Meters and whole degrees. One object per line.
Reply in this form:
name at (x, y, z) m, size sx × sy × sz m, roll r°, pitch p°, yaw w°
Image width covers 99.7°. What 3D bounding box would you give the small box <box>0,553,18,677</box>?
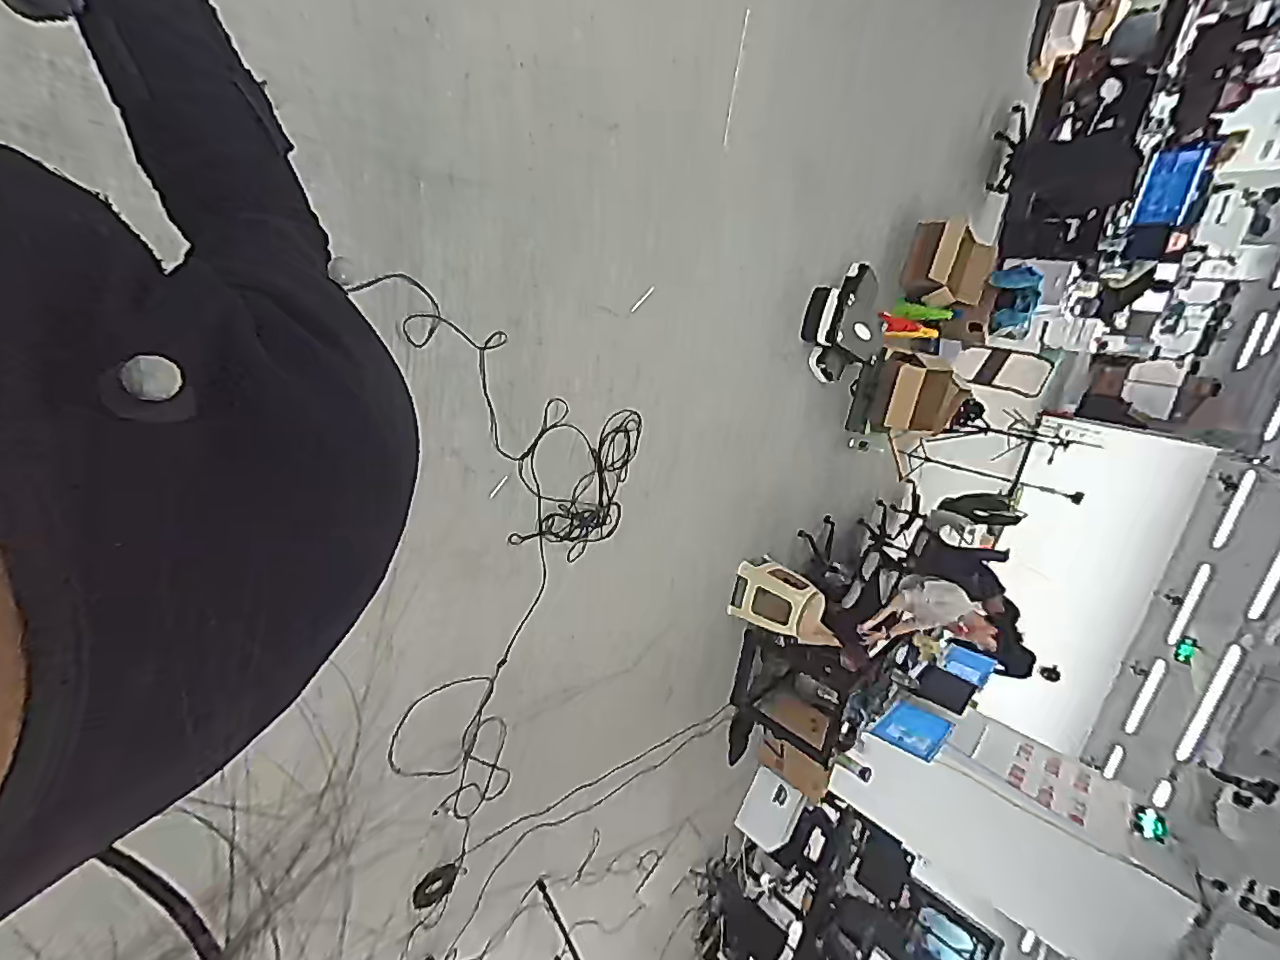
small box at (-1.228, 0.244, 0.952) m, size 0.168 × 0.176 × 0.179 m, roll 2°, pitch 104°, yaw -49°
